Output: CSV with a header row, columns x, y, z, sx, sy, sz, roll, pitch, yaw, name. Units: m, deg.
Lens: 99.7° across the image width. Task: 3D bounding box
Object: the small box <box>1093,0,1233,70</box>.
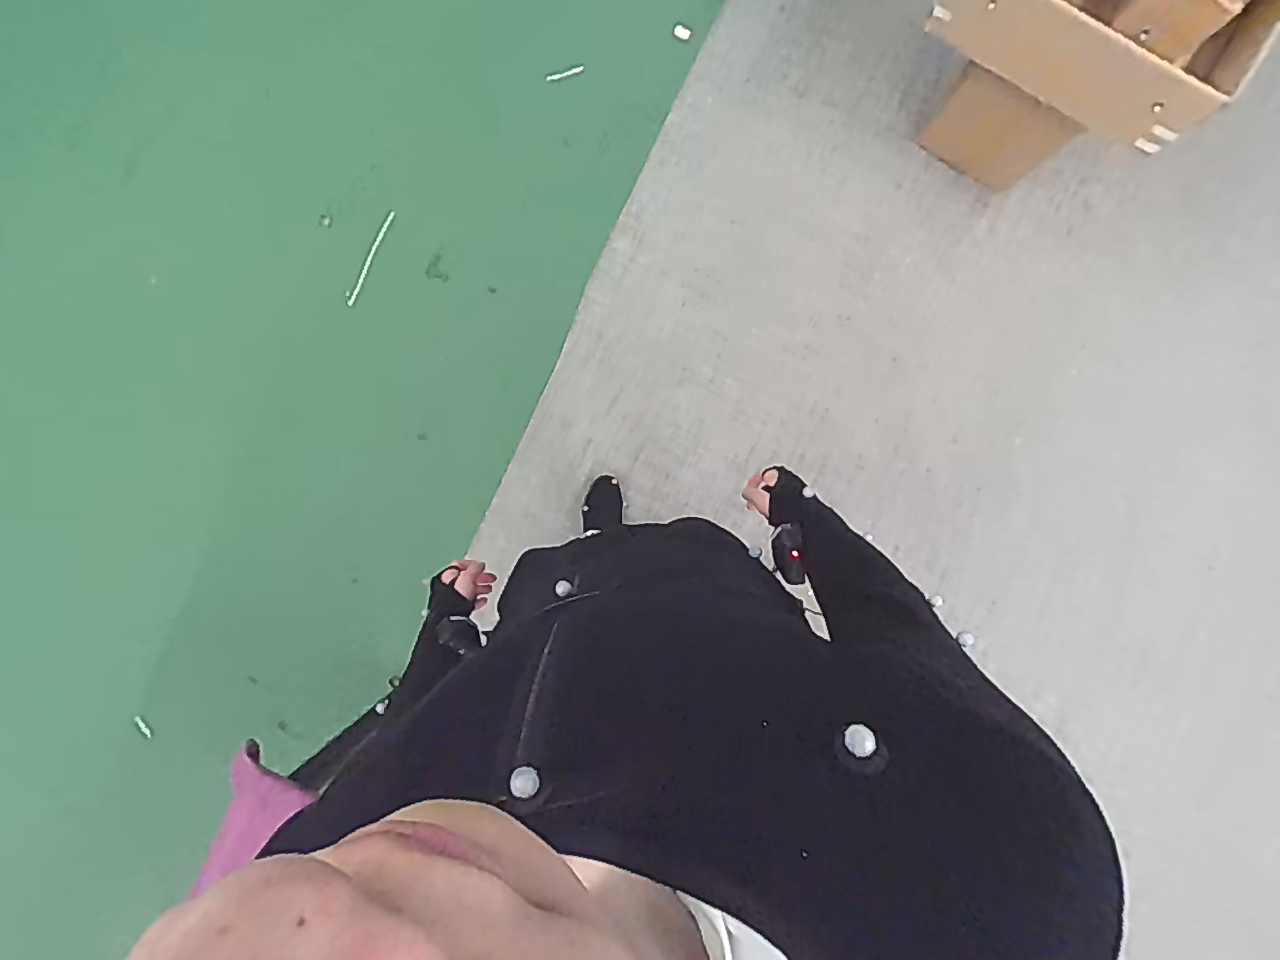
x,y,z,sx,sy,sz,roll,pitch,yaw,name
1.112,-1.024,1.126,0.168,0.176,0.179,31,92,0,small box
